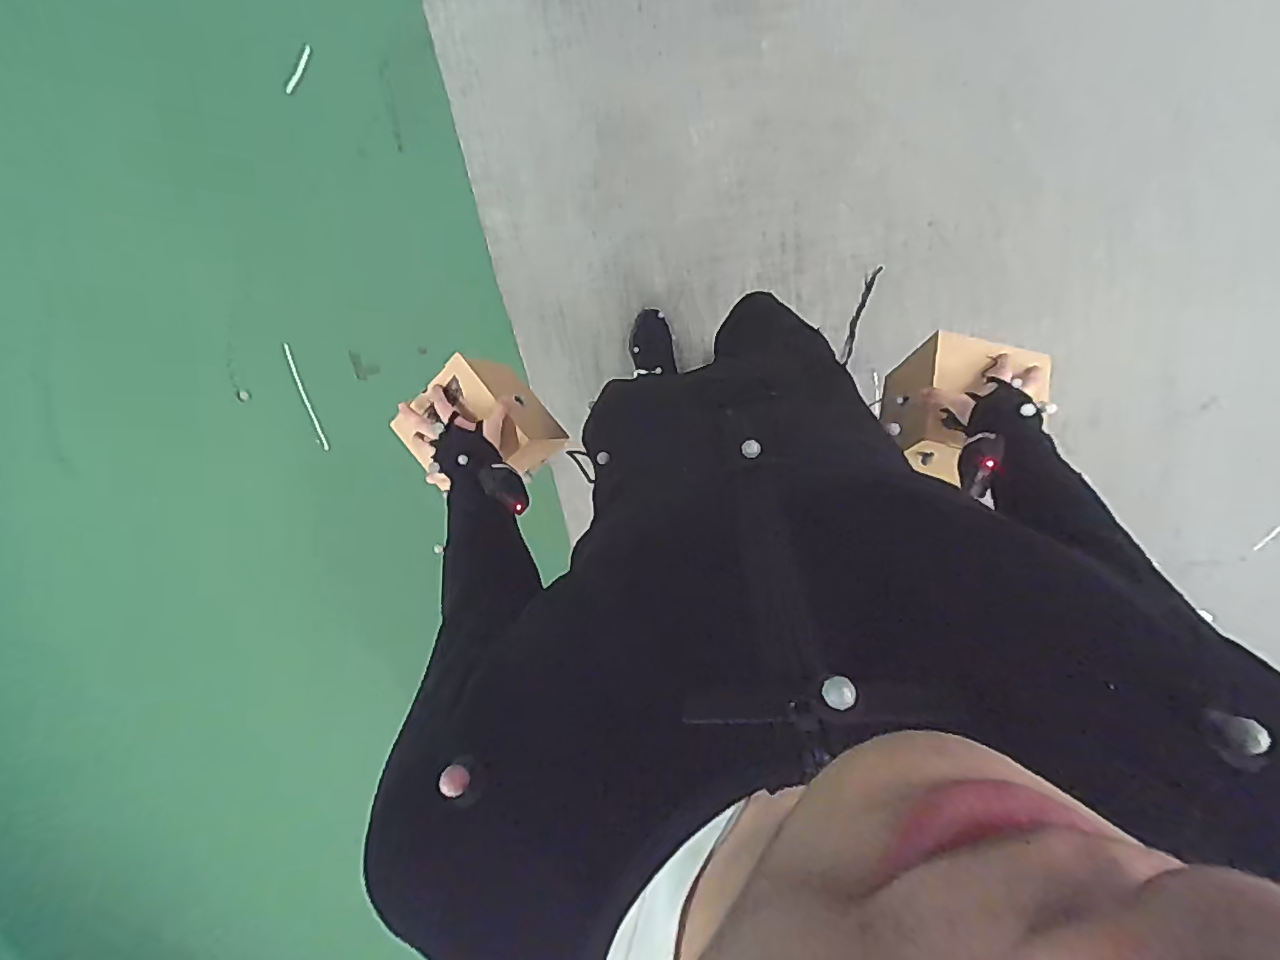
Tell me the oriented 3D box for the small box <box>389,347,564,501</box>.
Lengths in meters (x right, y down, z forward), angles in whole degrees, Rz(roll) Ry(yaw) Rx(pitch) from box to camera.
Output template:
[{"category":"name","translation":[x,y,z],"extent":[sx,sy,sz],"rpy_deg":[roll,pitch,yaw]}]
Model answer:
[{"category":"small box","translation":[-0.257,-0.088,0.884],"extent":[0.168,0.176,0.179],"rpy_deg":[-41,85,14]}]
